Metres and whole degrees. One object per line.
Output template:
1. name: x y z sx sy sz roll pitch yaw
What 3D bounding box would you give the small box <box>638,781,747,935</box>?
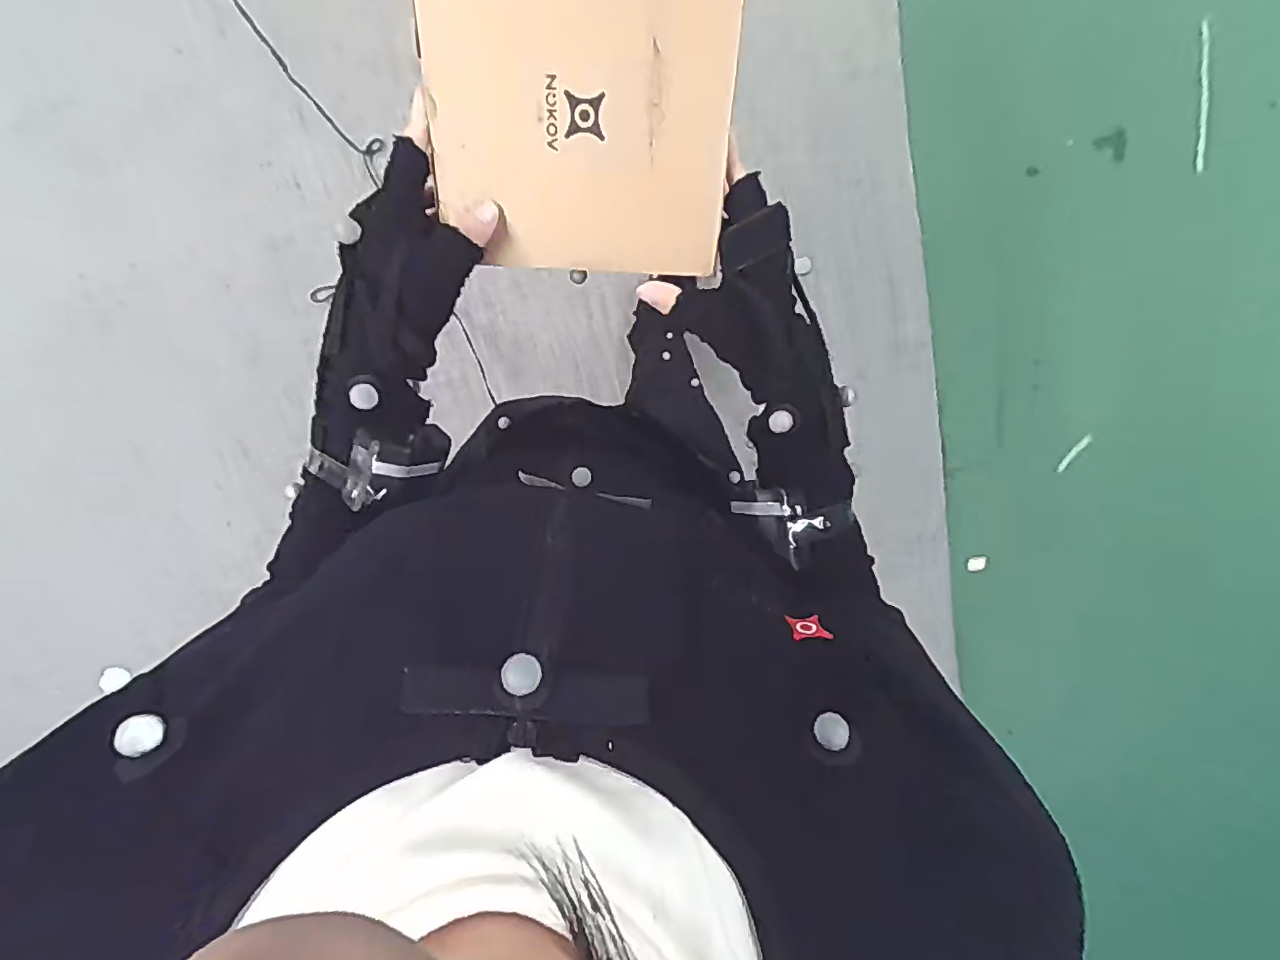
1. small box: 0.097 0.727 1.055 0.179 0.176 0.168 -12 104 1

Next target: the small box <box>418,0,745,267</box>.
1. small box: -0.034 -0.251 0.378 0.179 0.176 0.168 0 120 -2
